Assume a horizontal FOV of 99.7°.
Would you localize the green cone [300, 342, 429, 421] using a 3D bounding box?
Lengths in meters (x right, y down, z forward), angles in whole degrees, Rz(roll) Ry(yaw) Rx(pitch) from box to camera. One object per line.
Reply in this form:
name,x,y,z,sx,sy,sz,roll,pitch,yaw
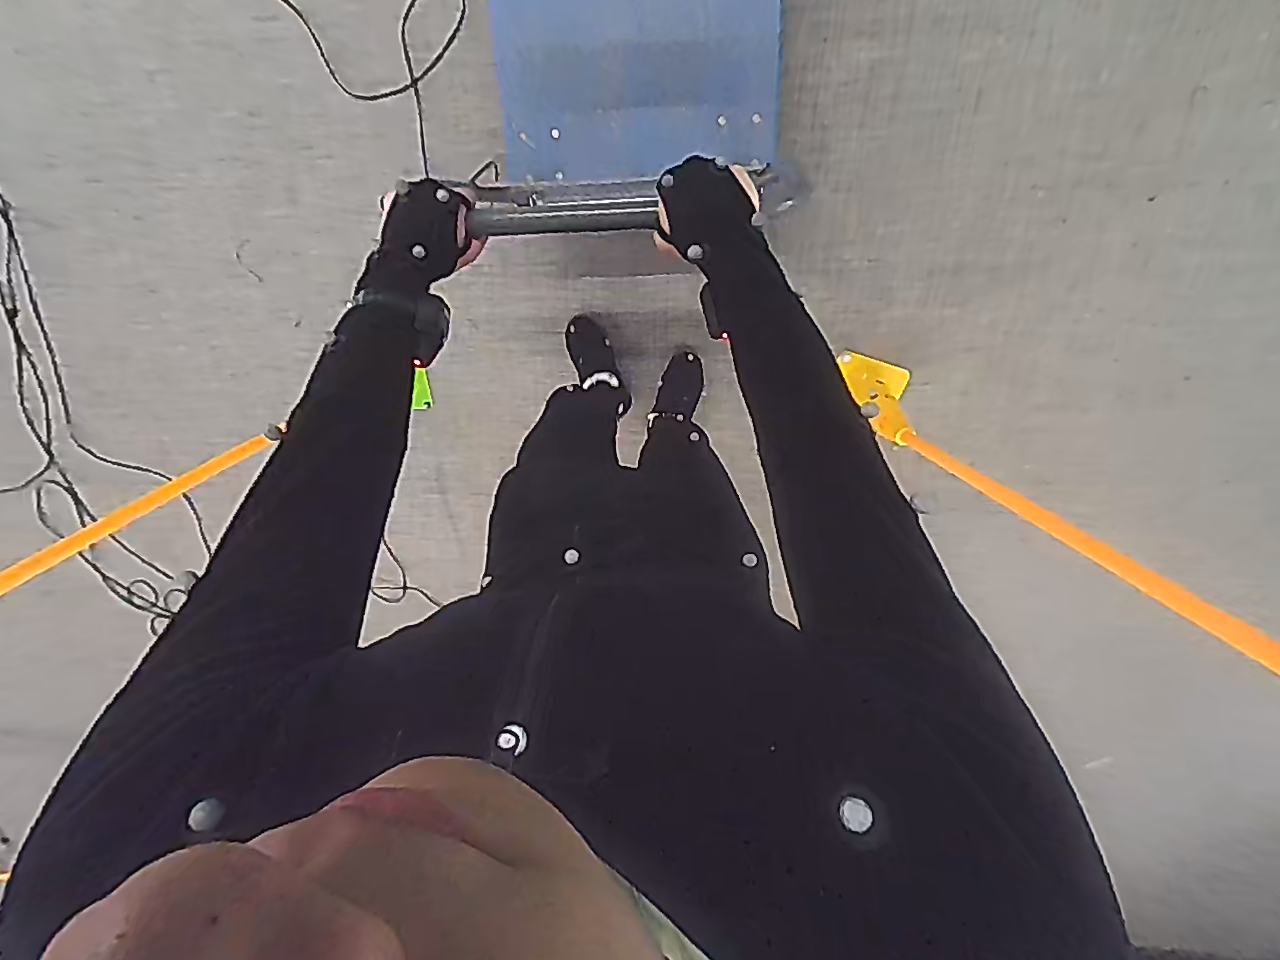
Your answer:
green cone,-0.752,-0.232,1.429,0.202,0.368,0.200,-1,113,9
